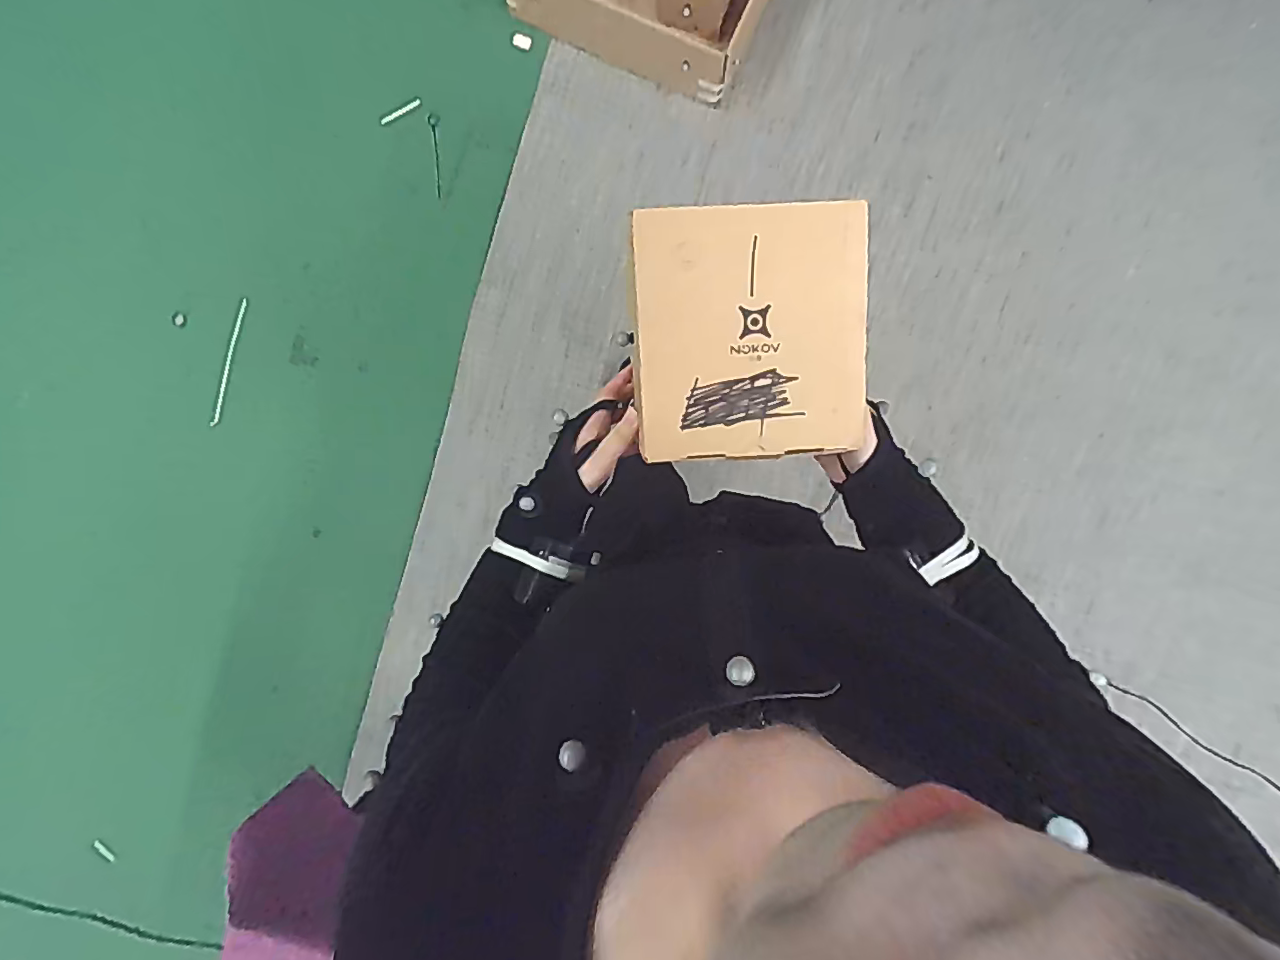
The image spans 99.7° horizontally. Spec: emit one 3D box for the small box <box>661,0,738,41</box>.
[{"bbox_3d":[0.151,-1.184,1.259,0.168,0.176,0.179,21,96,3],"label":"small box"}]

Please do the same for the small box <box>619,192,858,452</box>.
[{"bbox_3d":[0.069,-0.123,0.463,0.168,0.176,0.179,-3,99,-2],"label":"small box"}]
